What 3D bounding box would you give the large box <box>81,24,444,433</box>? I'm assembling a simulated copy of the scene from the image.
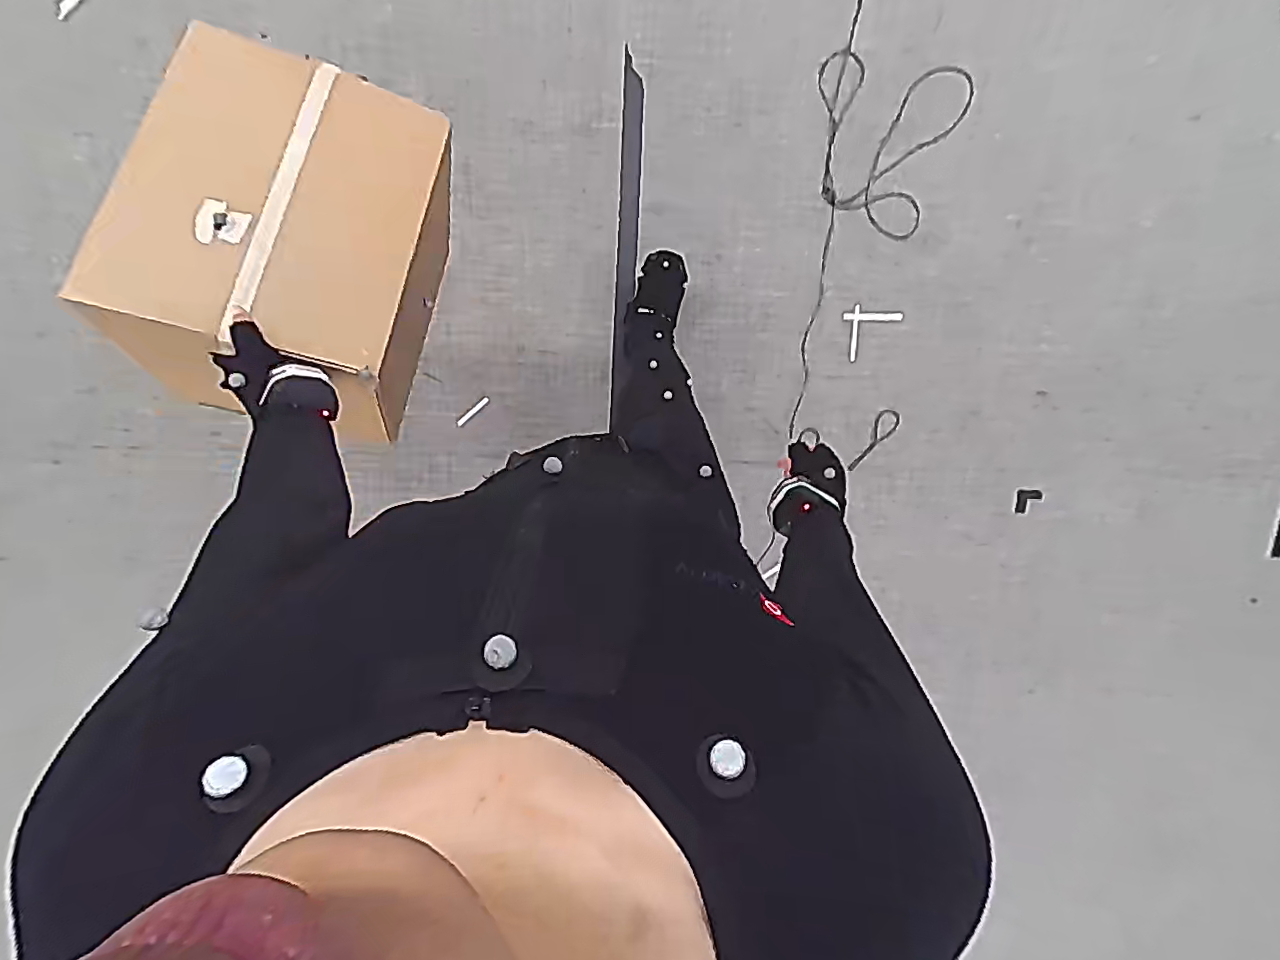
[{"bbox_3d":[-0.494,-0.327,0.813,0.320,0.320,0.408,12,75,-17],"label":"large box"}]
